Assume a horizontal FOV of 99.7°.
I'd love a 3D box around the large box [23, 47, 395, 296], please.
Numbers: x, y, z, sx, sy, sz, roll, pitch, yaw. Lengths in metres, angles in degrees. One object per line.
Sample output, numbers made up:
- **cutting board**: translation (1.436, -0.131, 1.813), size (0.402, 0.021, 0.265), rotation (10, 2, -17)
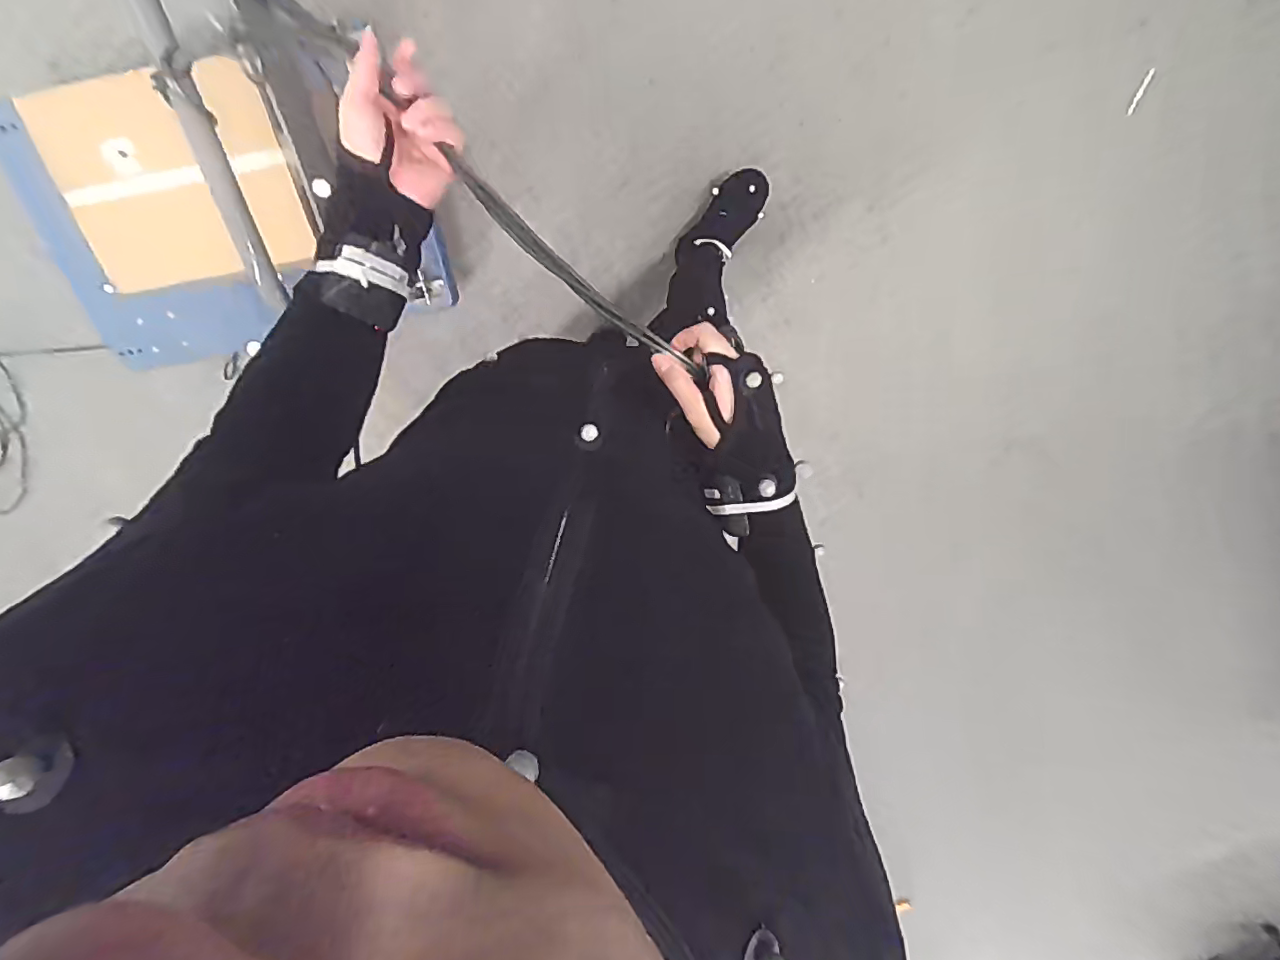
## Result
- **large box**: translation (-0.776, -0.569, 1.052), size (0.408, 0.320, 0.320), rotation (-9, 113, 4)
